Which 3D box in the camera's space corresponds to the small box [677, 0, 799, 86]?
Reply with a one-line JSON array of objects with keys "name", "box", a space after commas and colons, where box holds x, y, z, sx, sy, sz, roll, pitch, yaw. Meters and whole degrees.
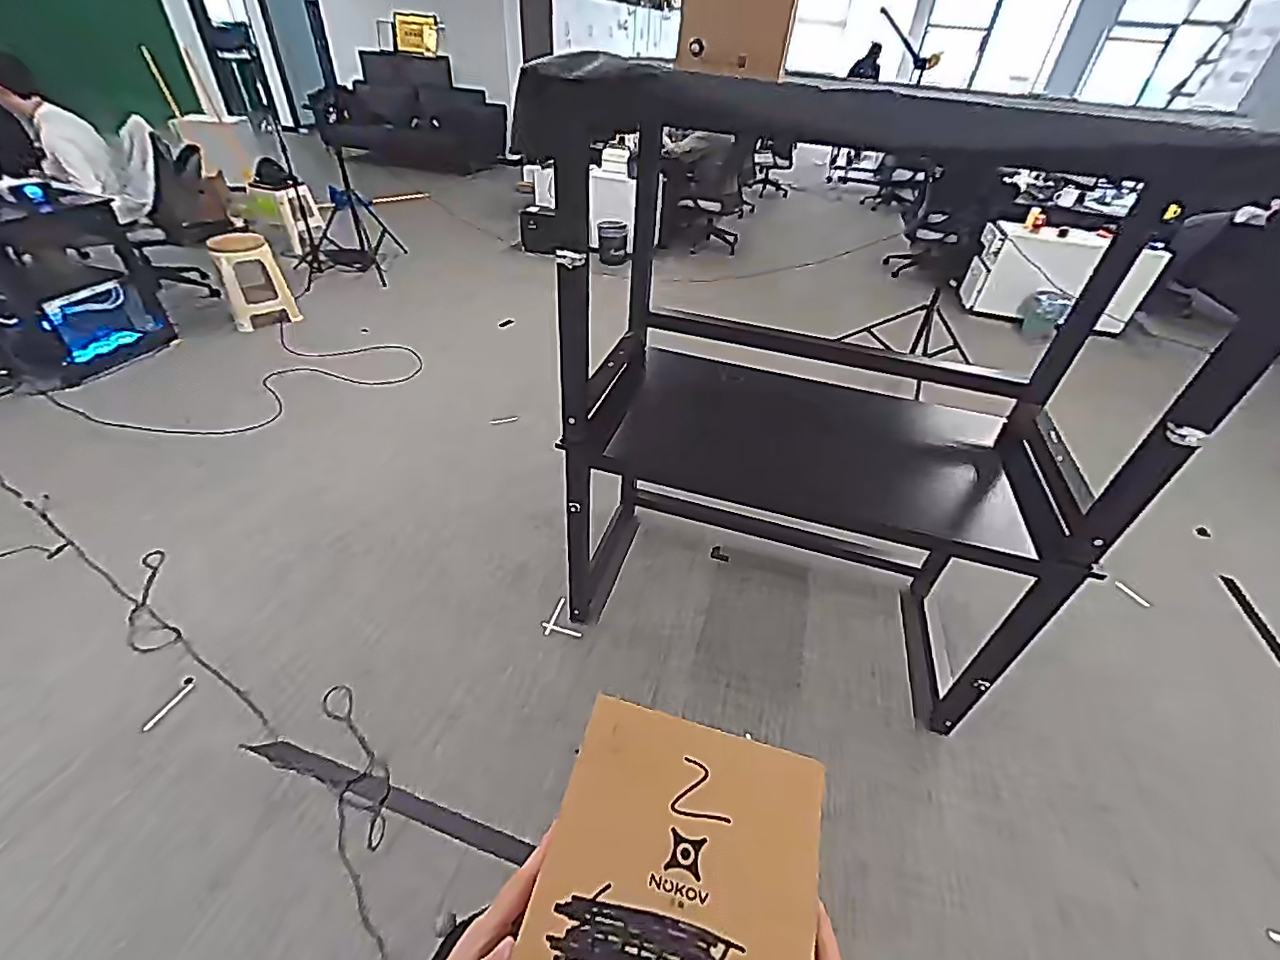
[{"name": "small box", "box": [0.158, -0.727, 0.845, 0.168, 0.176, 0.179, 13, 38, 8]}]
